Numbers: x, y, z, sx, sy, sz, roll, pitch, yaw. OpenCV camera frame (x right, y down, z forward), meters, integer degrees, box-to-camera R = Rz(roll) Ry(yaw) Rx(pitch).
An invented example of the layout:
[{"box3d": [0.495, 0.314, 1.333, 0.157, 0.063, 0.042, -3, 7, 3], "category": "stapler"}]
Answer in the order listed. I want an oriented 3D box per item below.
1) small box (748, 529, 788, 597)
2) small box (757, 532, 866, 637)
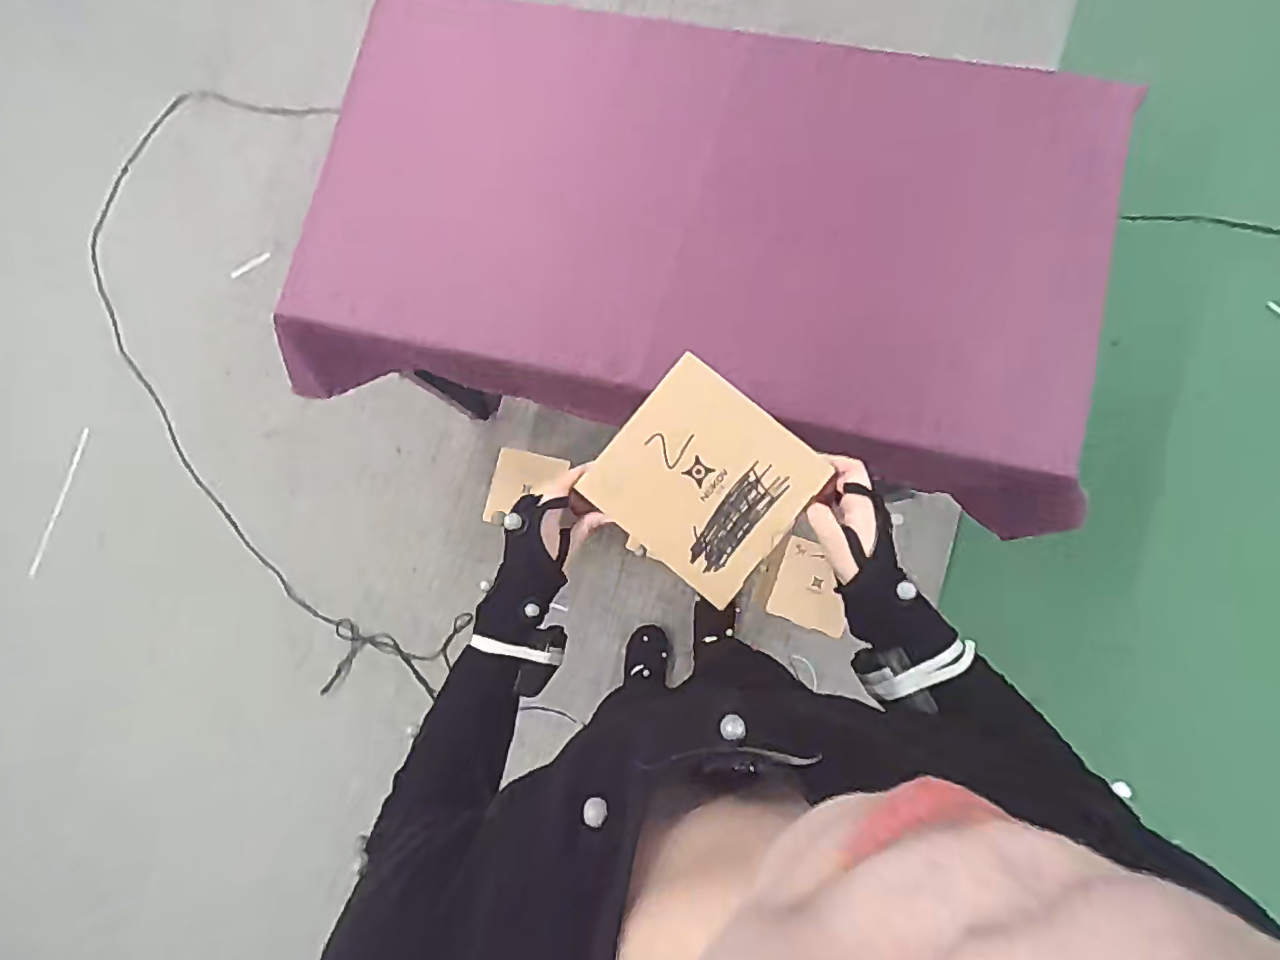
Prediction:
[{"box3d": [0.383, 0.238, 1.373, 0.168, 0.176, 0.179, 24, 85, 7], "category": "small box"}, {"box3d": [0.371, 0.225, 1.208, 0.168, 0.176, 0.179, 21, 86, 5], "category": "small box"}]
